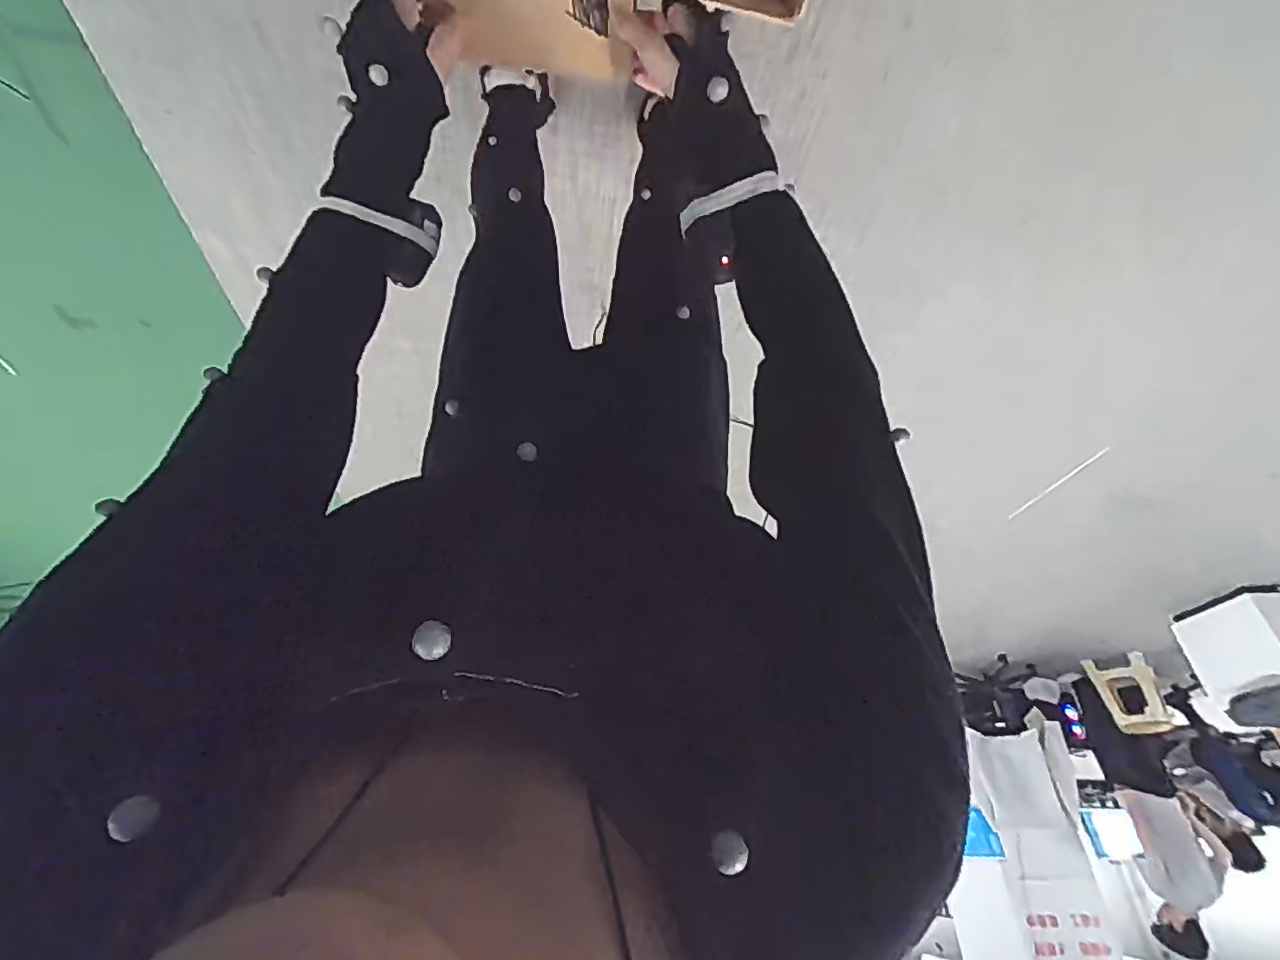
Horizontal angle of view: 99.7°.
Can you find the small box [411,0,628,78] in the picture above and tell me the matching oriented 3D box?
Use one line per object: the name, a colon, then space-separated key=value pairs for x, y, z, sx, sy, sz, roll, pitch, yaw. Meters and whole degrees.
small box: x=-0.098 y=-0.471 z=0.478 sx=0.179 sy=0.176 sz=0.168 roll=3 pitch=128 yaw=-5
